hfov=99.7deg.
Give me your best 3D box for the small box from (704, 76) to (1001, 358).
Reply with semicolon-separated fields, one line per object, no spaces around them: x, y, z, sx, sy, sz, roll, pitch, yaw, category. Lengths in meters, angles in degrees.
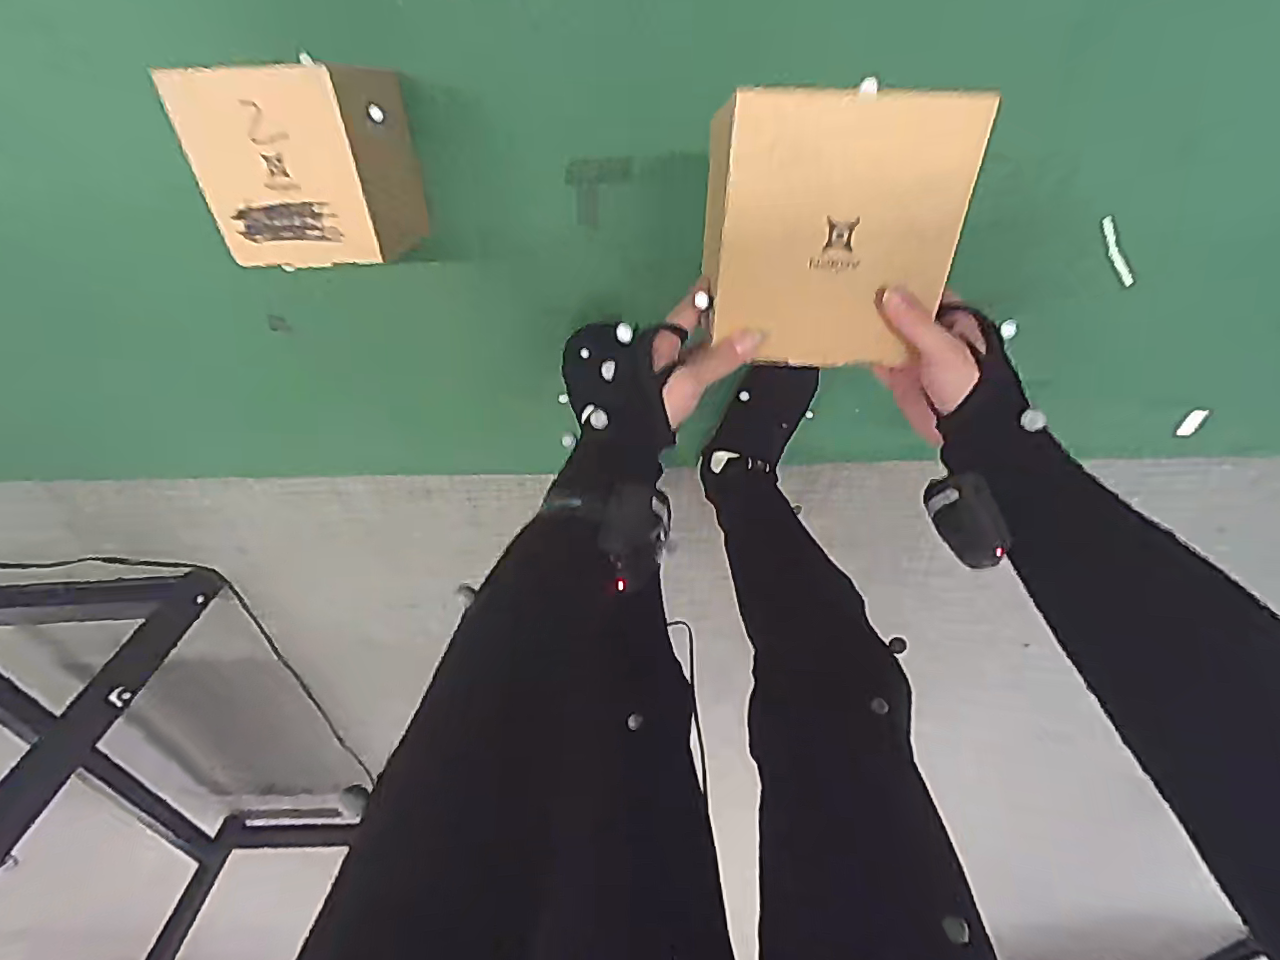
0.144;-0.212;0.446;0.168;0.176;0.179;2;121;2;small box
